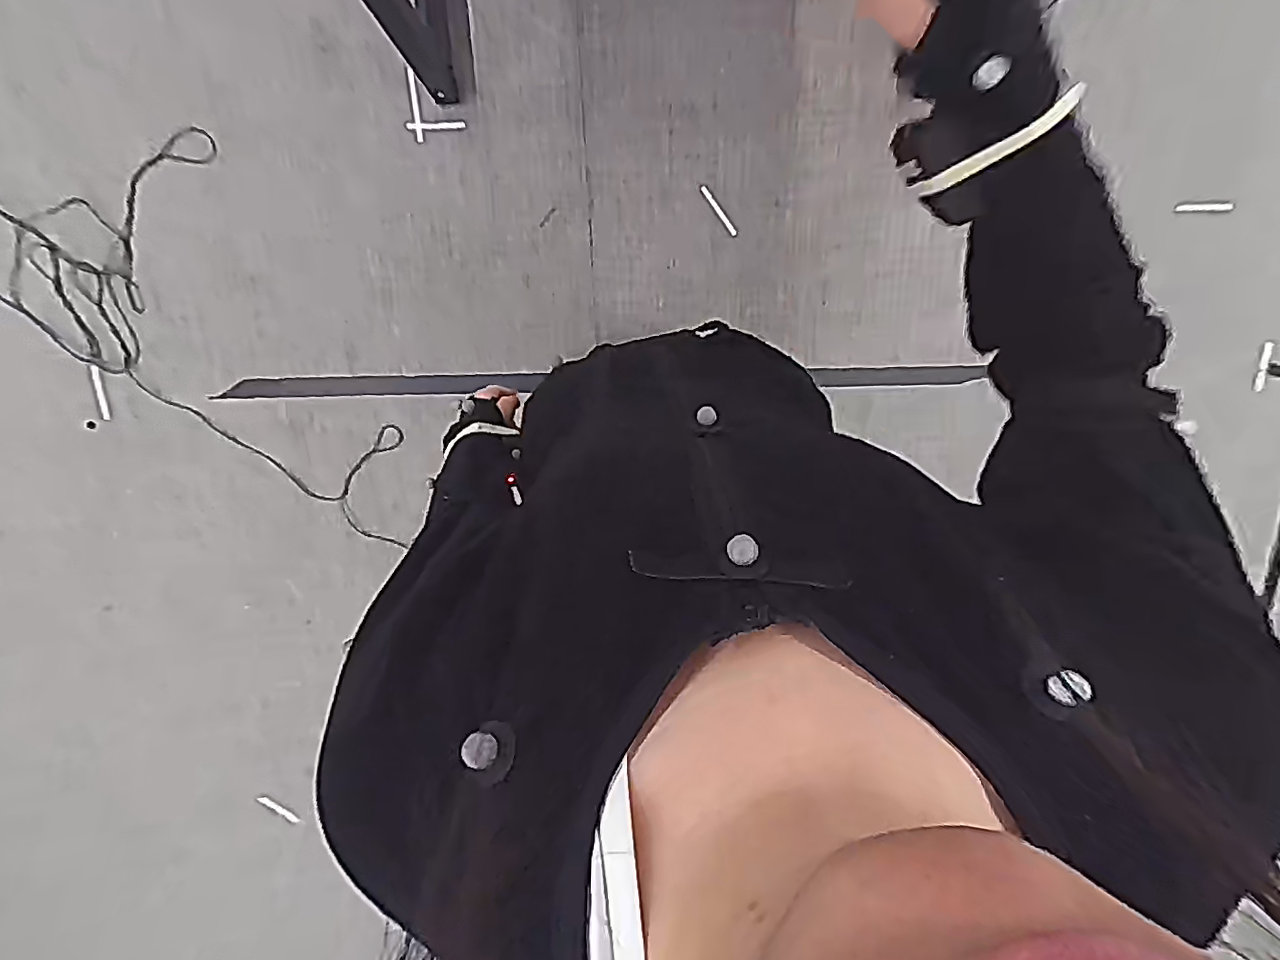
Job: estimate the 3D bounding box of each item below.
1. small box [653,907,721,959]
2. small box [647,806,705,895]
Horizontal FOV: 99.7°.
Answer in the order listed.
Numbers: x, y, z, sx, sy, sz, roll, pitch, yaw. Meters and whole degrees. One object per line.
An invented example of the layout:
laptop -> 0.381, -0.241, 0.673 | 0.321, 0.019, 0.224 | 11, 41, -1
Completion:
small box -> 0.120, 1.247, 1.389 | 0.168, 0.176, 0.179 | -2, 103, -2
small box -> 0.109, 1.163, 1.707 | 0.168, 0.176, 0.179 | 0, 104, -2
